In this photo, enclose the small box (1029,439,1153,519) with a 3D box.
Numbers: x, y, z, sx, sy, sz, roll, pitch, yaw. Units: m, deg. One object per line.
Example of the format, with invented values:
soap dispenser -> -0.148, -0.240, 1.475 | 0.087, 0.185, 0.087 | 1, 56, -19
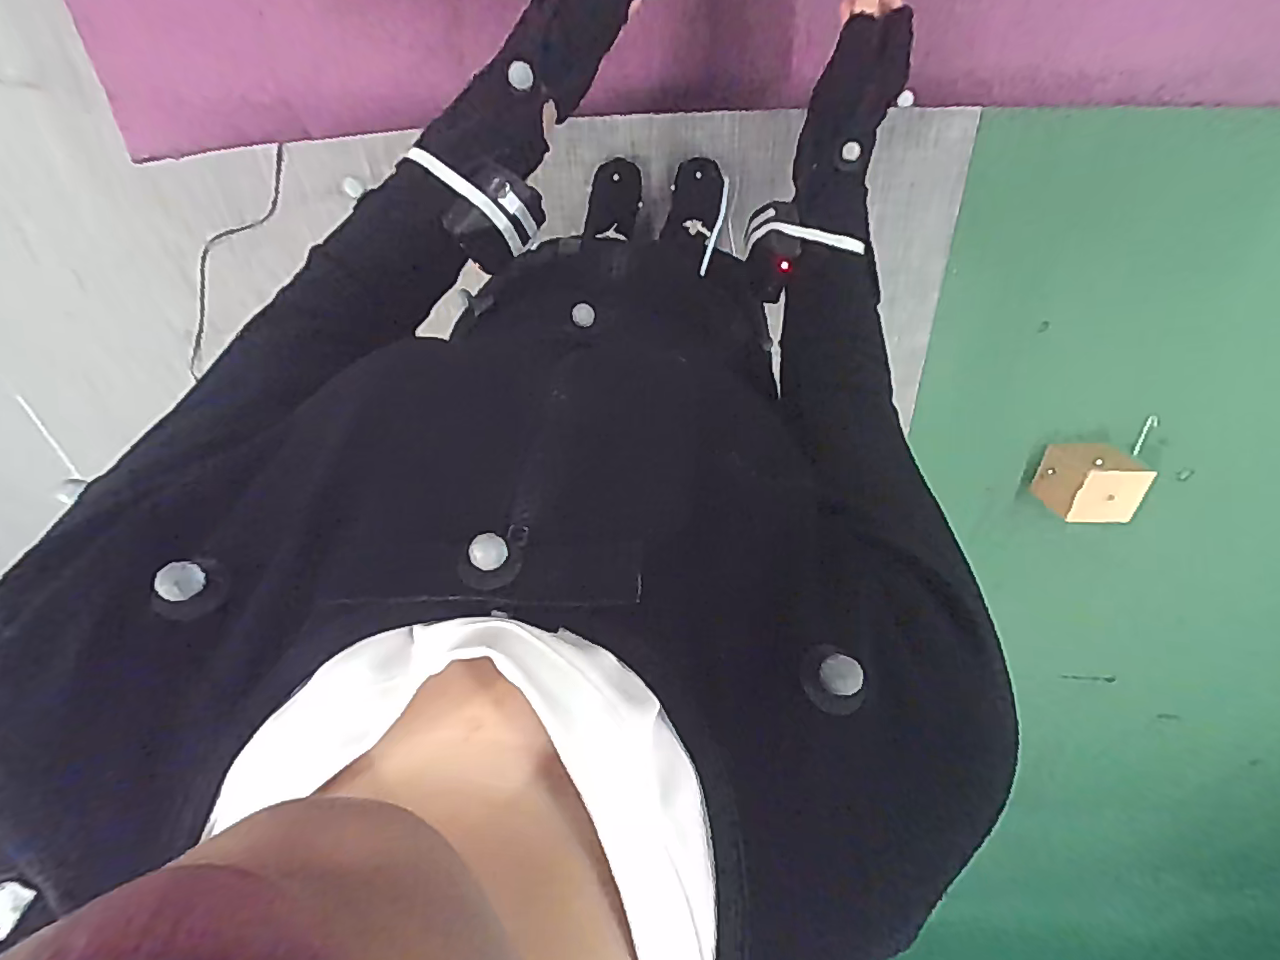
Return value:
small box -> 1.252, -0.006, 1.517 | 0.179, 0.176, 0.168 | 1, 123, 2
